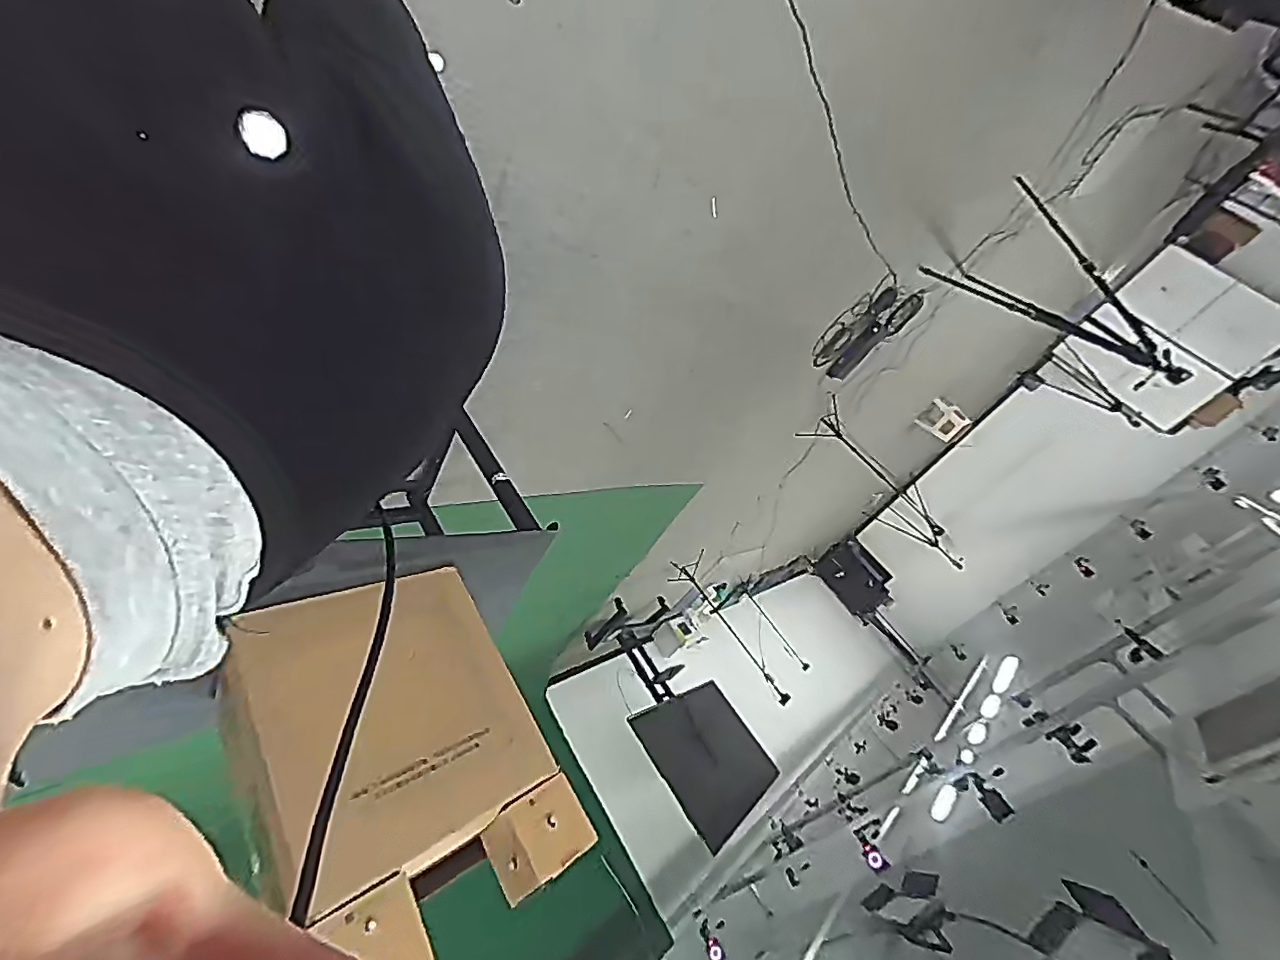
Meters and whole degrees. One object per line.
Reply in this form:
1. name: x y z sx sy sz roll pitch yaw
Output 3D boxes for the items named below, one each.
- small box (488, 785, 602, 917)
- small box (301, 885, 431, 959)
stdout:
1. small box: -0.224 0.837 1.236 0.168 0.176 0.179 -8 141 -46
2. small box: -0.486 0.871 0.964 0.168 0.176 0.179 -7 140 -45
